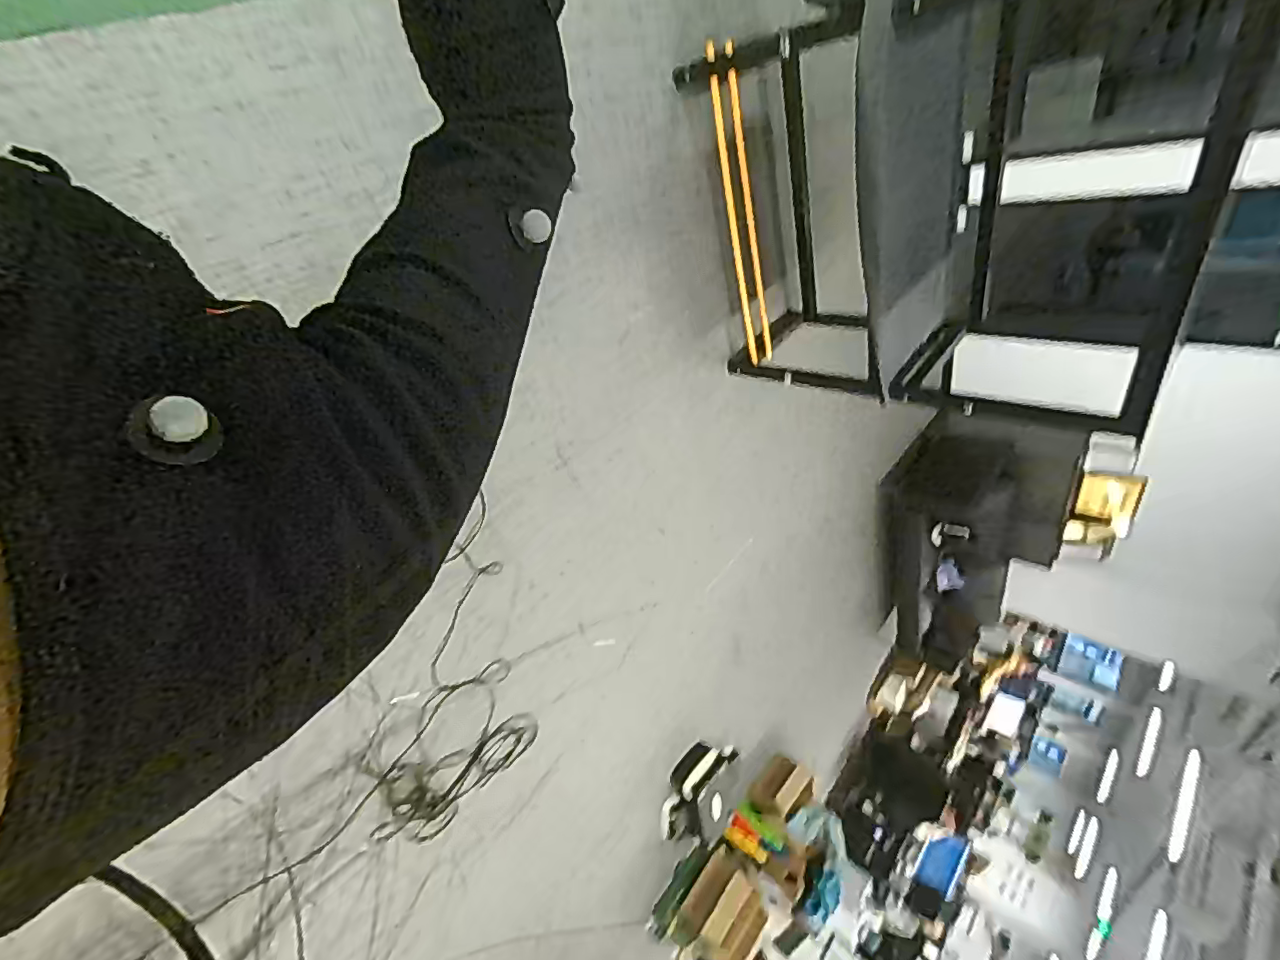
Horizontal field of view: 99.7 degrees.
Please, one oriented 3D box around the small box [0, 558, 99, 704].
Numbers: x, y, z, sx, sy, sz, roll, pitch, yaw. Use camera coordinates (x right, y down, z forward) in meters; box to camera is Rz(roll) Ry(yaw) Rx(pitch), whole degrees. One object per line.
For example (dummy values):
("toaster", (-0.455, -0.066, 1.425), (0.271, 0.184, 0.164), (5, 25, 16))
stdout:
("small box", (-1.170, 0.273, 1.000), (0.179, 0.176, 0.168), (-41, 131, -28))
